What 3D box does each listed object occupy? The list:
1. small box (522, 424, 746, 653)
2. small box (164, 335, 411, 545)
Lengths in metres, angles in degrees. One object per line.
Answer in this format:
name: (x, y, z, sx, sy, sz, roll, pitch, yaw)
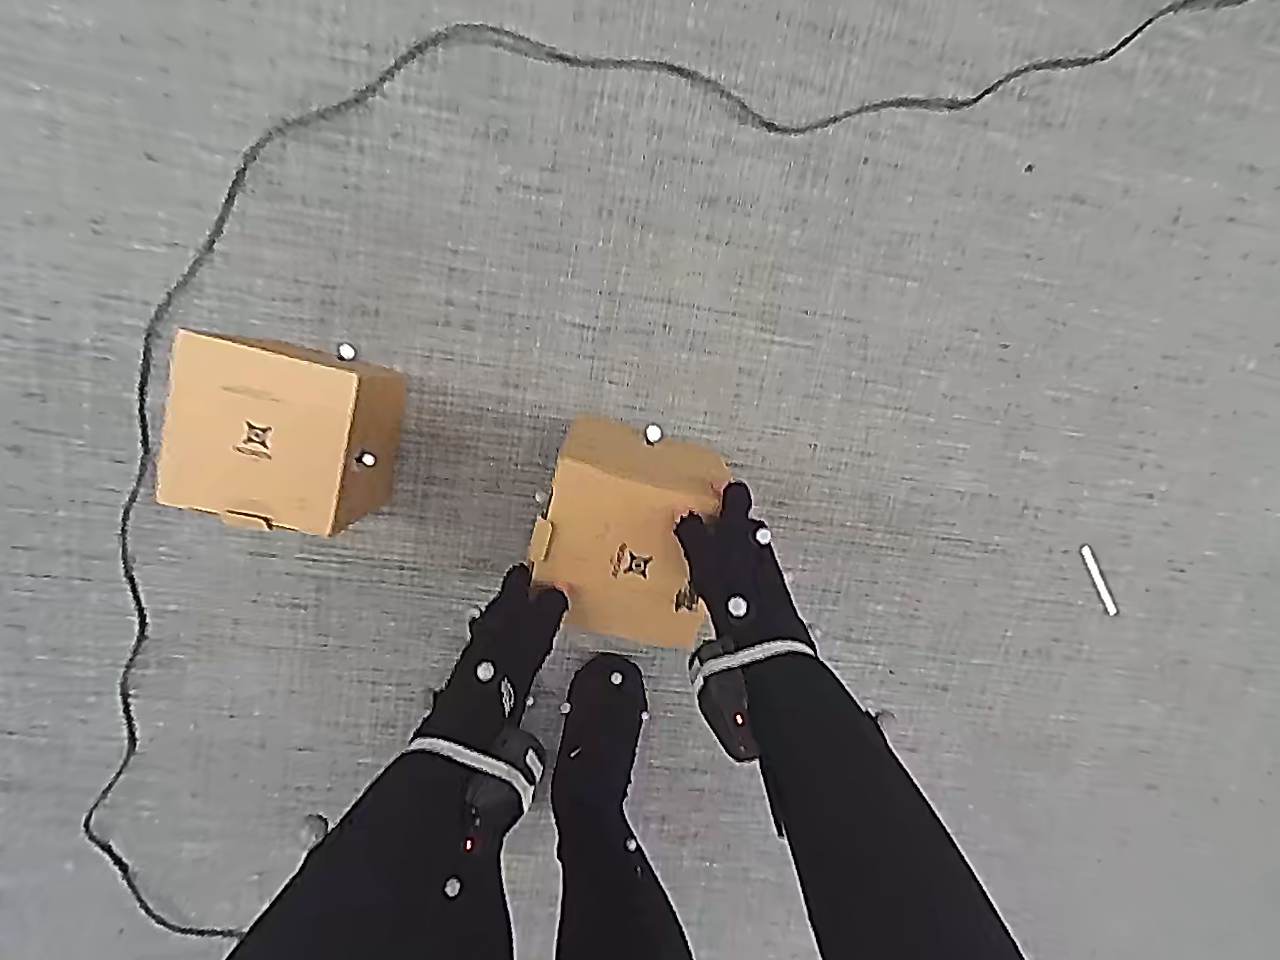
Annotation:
small box: (-0.009, 0.050, 0.582, 0.179, 0.176, 0.168, 16, 110, -6)
small box: (-0.376, -0.050, 0.607, 0.168, 0.176, 0.179, 14, 100, -9)
